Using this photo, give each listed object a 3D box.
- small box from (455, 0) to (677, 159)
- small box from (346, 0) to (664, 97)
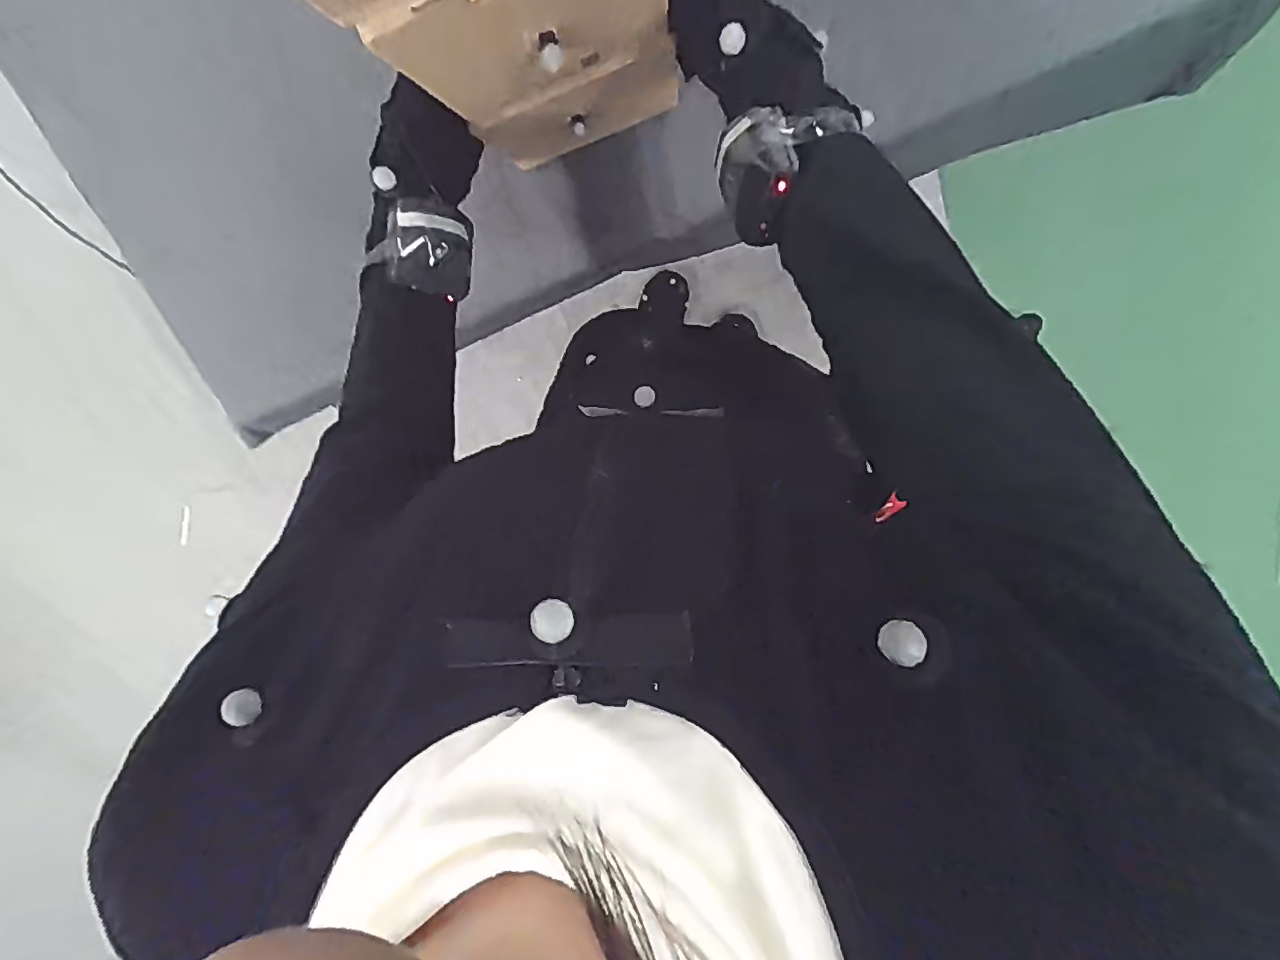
[{"bbox_3d":[-0.074,-0.403,0.461,0.179,0.176,0.168,-16,109,11],"label":"small box"},{"bbox_3d":[-0.088,-0.353,0.307,0.168,0.176,0.179,-17,109,10],"label":"small box"}]
